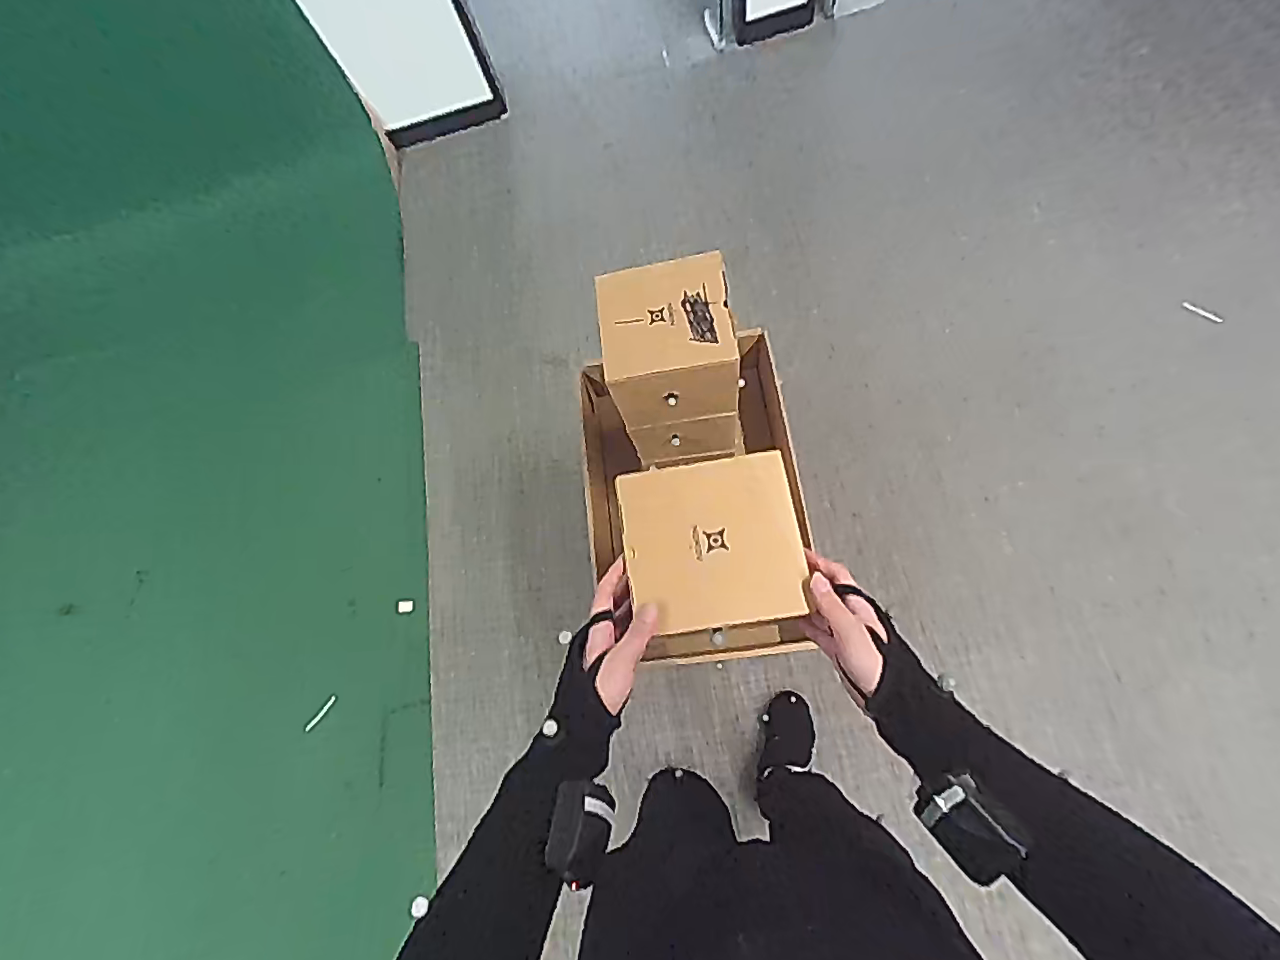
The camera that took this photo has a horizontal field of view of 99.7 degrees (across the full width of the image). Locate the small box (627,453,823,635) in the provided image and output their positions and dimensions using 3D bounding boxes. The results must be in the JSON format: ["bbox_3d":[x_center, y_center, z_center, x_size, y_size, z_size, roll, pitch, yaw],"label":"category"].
[{"bbox_3d":[0.084,0.082,0.611,0.179,0.176,0.168,-7,72,2],"label":"small box"}]

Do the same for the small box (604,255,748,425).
[{"bbox_3d":[0.054,-0.192,0.784,0.179,0.176,0.168,-8,73,7],"label":"small box"}]

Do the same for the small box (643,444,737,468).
[{"bbox_3d":[0.100,-0.094,1.095,0.179,0.176,0.168,-6,73,6],"label":"small box"}]

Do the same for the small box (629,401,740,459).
[{"bbox_3d":[0.077,-0.144,0.940,0.179,0.176,0.168,-7,73,7],"label":"small box"}]
